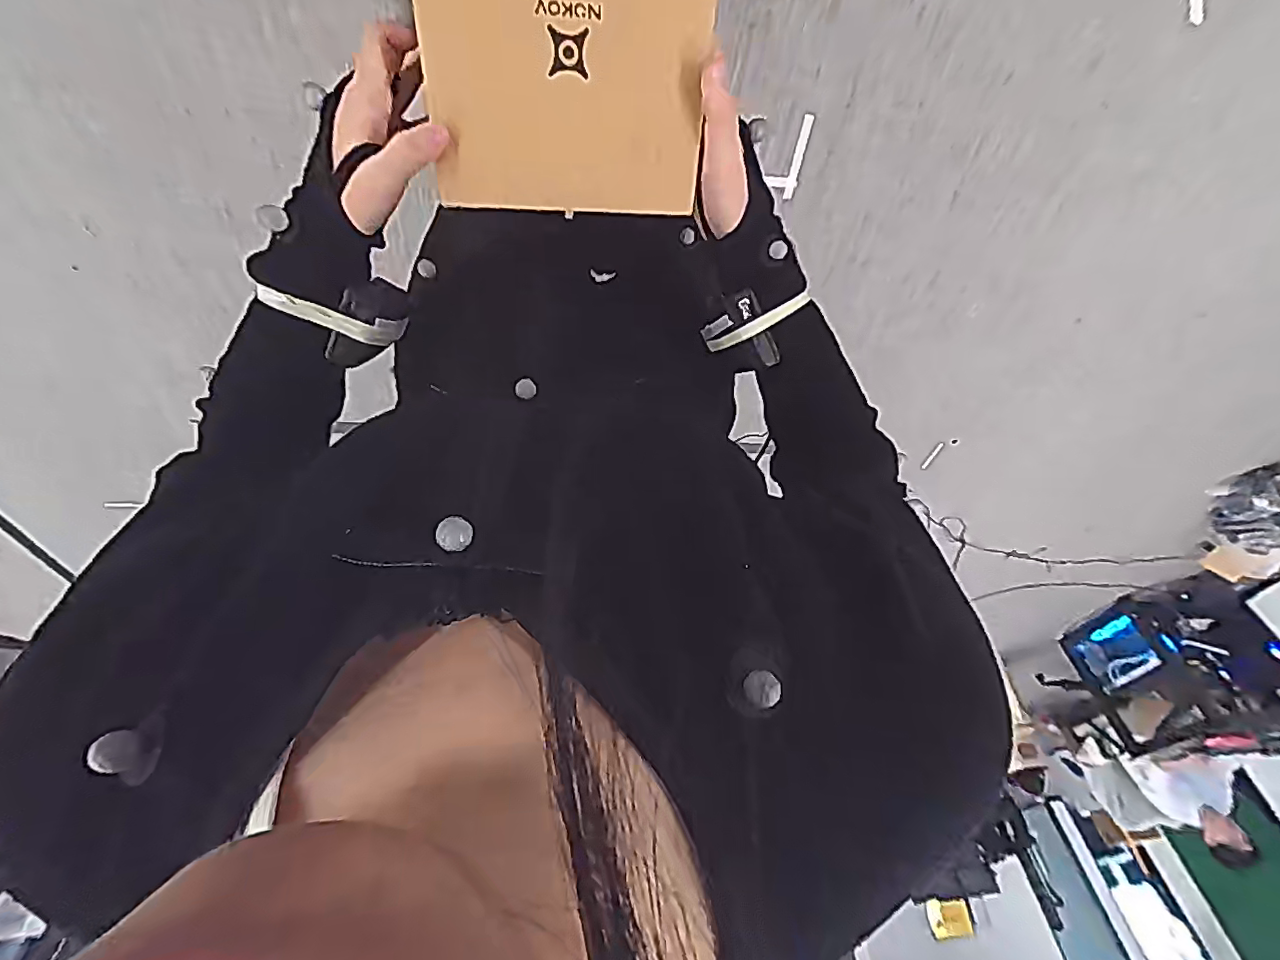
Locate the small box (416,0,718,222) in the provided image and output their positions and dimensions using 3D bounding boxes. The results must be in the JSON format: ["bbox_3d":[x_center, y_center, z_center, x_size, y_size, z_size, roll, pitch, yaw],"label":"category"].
[{"bbox_3d":[-0.050,-0.293,0.369,0.168,0.176,0.179,-3,128,-9],"label":"small box"}]

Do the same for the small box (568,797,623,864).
[{"bbox_3d":[-0.156,1.194,1.843,0.168,0.176,0.179,3,138,-11],"label":"small box"}]

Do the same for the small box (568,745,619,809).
[{"bbox_3d":[-0.171,1.072,1.952,0.168,0.176,0.179,3,137,-11],"label":"small box"}]
